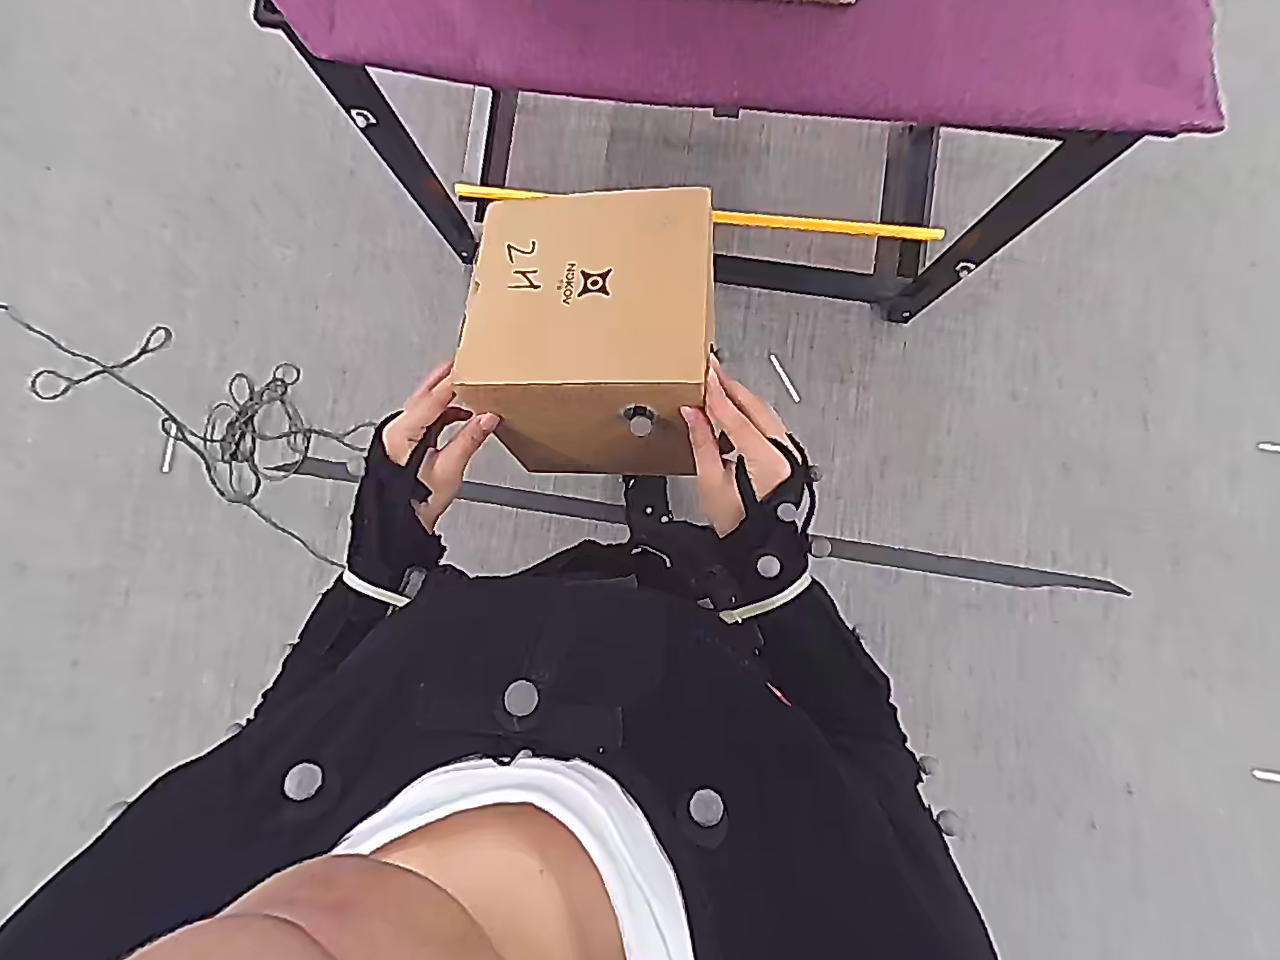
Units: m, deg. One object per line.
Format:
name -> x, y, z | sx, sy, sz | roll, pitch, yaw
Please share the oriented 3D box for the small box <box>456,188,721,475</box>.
small box -> -0.023, -0.110, 0.453 | 0.179, 0.176, 0.168 | 1, 69, 9
